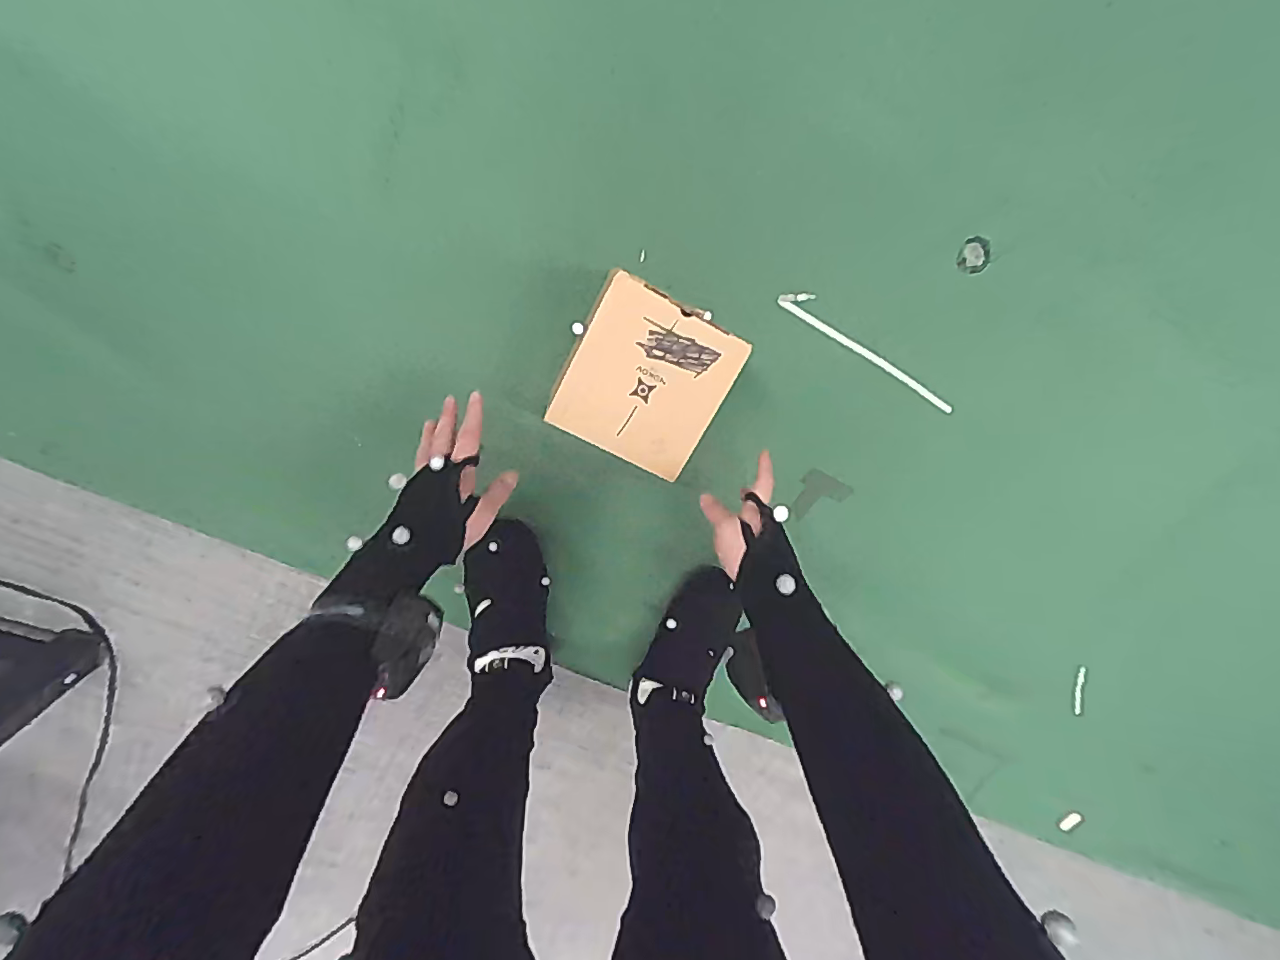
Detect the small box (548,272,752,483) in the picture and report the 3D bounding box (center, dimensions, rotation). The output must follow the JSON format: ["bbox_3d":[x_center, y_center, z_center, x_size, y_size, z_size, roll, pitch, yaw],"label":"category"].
[{"bbox_3d":[0.003,-0.130,0.652,0.168,0.176,0.179,26,107,-13],"label":"small box"}]
